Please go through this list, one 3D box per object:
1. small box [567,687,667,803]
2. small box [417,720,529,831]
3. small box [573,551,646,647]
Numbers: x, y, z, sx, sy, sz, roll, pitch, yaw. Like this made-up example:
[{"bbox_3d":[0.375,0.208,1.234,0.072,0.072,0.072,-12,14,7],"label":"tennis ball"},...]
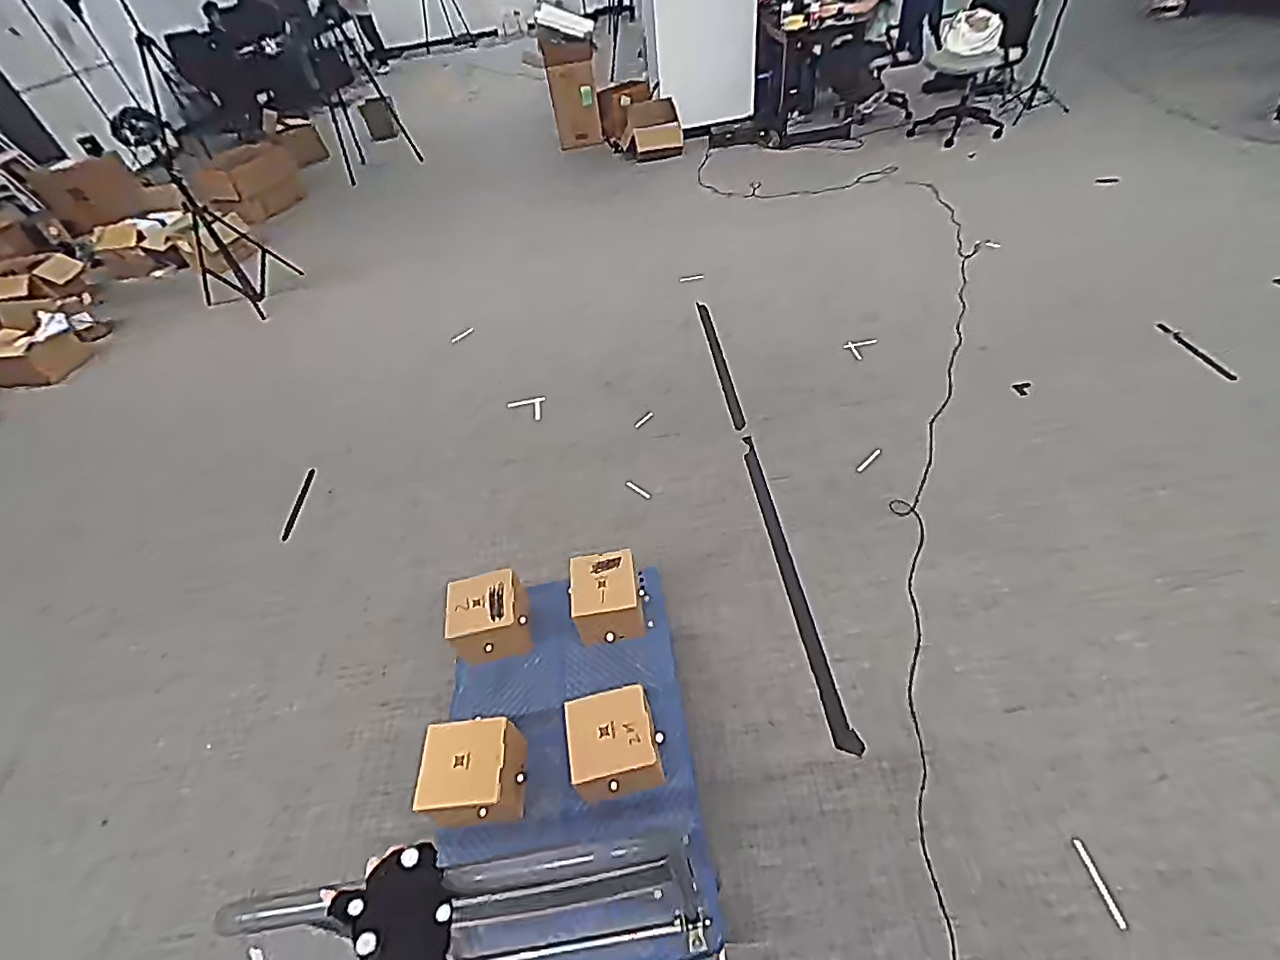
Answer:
[{"bbox_3d":[-0.049,0.579,1.175,0.179,0.176,0.168,-13,47,-2],"label":"small box"},{"bbox_3d":[-0.351,0.643,1.172,0.179,0.176,0.168,-7,46,1],"label":"small box"},{"bbox_3d":[-0.081,0.315,1.425,0.168,0.176,0.179,-10,48,1],"label":"small box"}]
